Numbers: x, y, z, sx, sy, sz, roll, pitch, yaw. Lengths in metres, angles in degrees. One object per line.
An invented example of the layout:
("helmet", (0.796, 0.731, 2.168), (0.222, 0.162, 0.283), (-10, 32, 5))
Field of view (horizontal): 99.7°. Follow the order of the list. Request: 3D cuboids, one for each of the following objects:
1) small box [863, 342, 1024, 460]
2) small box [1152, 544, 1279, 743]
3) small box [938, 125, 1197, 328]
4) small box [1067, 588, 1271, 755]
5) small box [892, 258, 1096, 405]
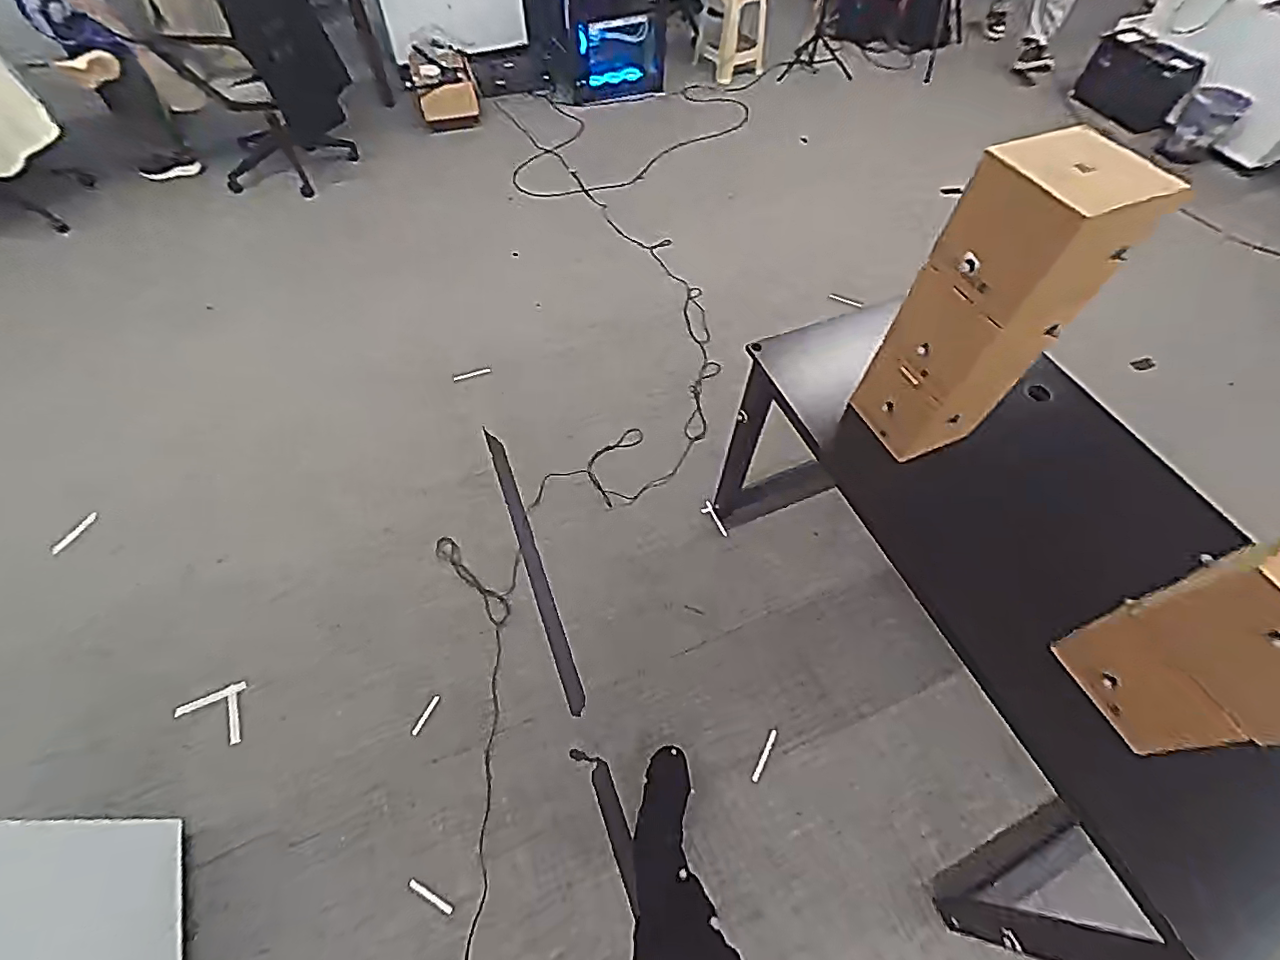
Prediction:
("small box", (0.543, -0.162, 1.004), (0.179, 0.176, 0.168), (-21, 61, -13))
("small box", (0.755, 0.171, 0.606), (0.168, 0.176, 0.179), (-23, 62, -14))
("small box", (0.551, -0.336, 0.727), (0.179, 0.176, 0.168), (-20, 59, -13))
("small box", (0.758, 0.257, 0.746), (0.179, 0.176, 0.168), (-20, 60, -13))
("small box", (0.548, -0.250, 0.865), (0.179, 0.176, 0.168), (-20, 60, -13))
